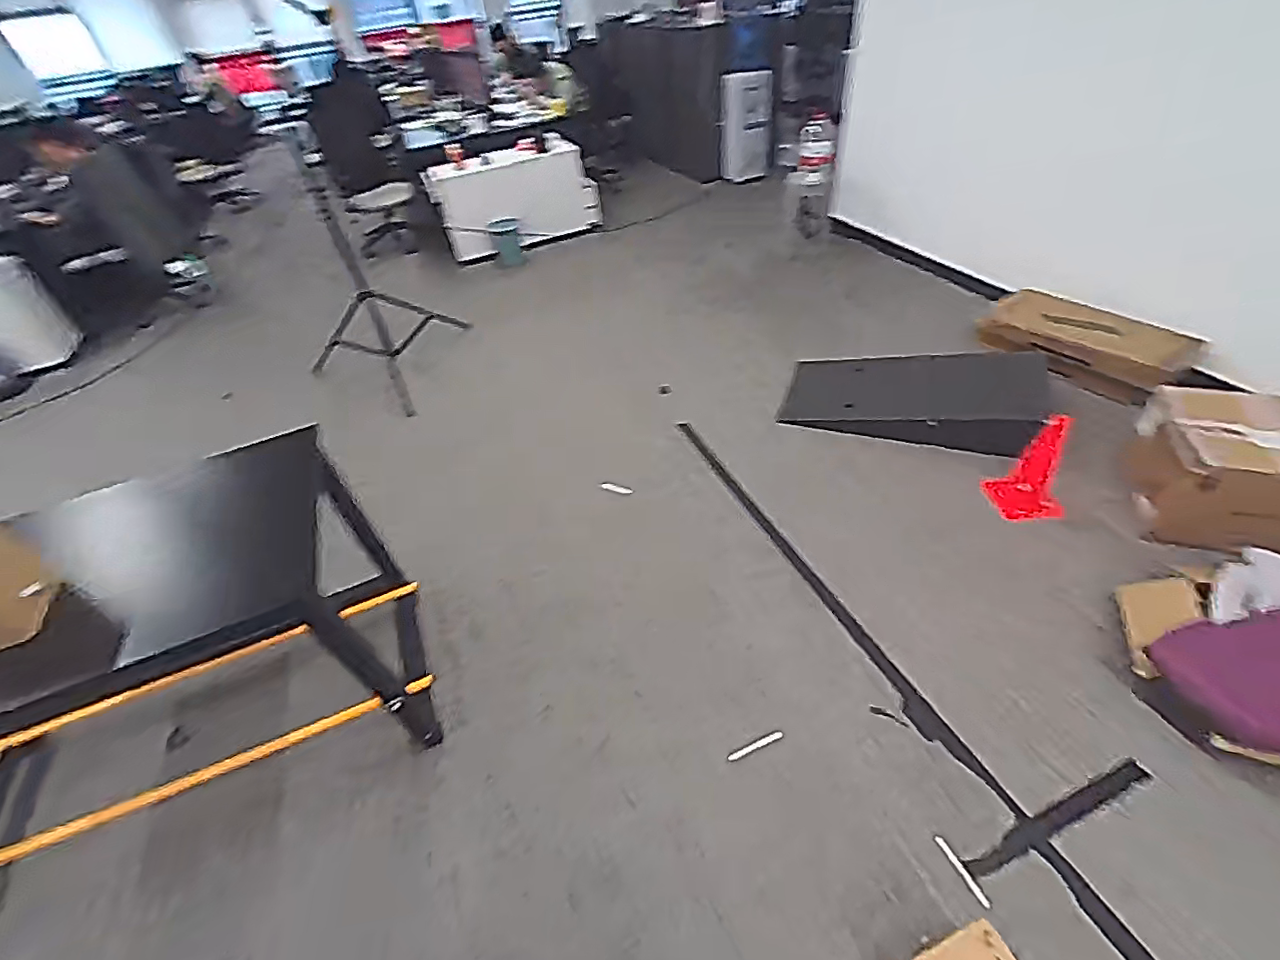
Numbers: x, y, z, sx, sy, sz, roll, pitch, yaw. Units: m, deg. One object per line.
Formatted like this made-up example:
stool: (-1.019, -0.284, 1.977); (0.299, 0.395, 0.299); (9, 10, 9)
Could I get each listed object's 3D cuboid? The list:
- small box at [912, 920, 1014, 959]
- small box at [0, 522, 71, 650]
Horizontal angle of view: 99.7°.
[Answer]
small box: (0.606, 0.954, 0.989); (0.179, 0.176, 0.168); (-20, 45, -10)
small box: (-1.228, 0.214, 0.987); (0.179, 0.176, 0.168); (-21, 44, -14)
